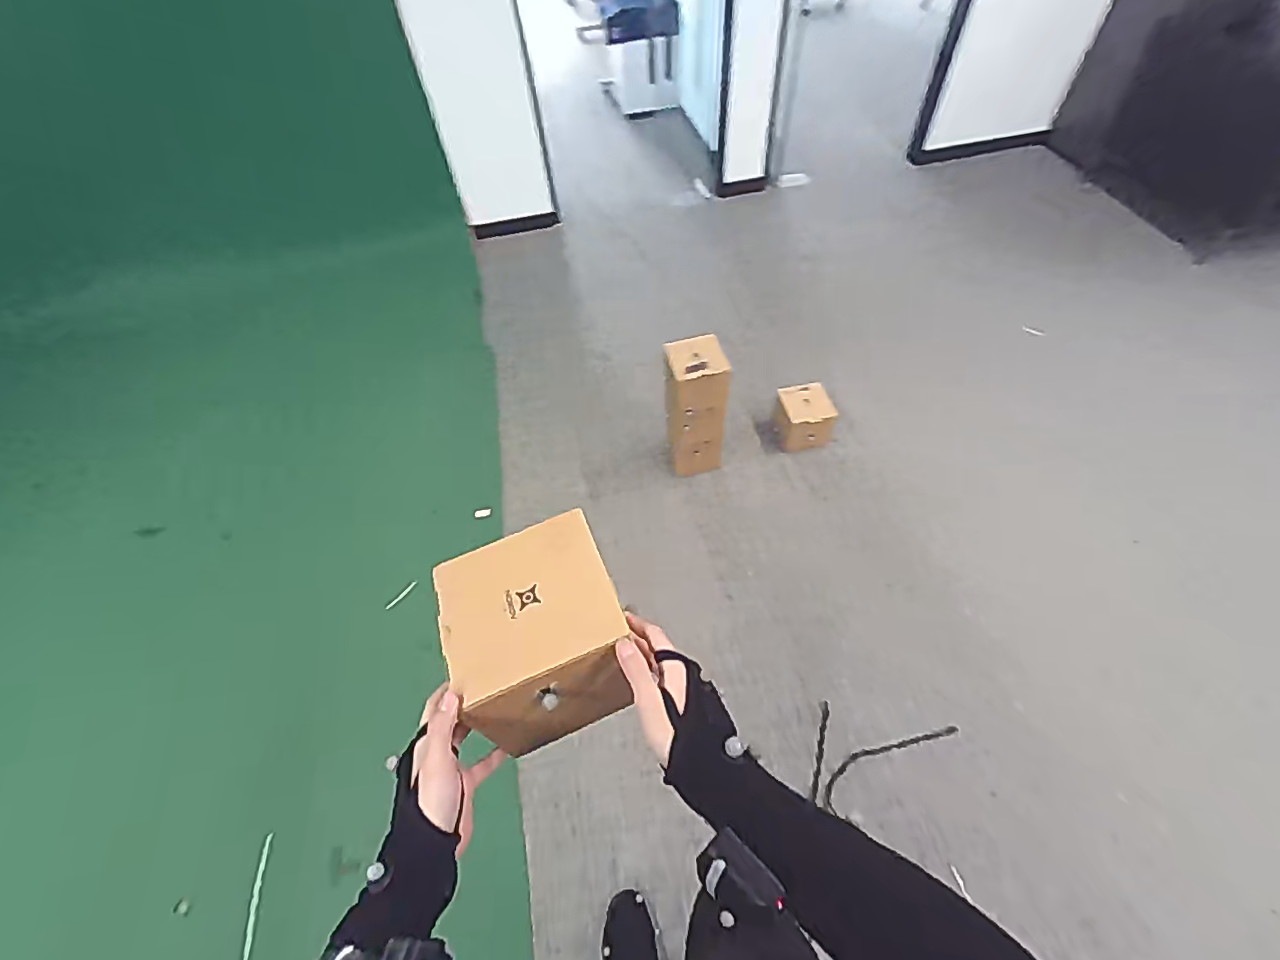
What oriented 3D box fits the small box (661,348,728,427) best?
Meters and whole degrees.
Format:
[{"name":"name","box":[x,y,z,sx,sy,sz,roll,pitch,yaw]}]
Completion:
[{"name":"small box","box":[0.170,-0.283,1.704,0.168,0.176,0.179,-13,52,-5]}]

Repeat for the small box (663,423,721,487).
[{"name":"small box","box":[0.188,-0.094,1.972,0.179,0.176,0.168,-11,53,-5]}]

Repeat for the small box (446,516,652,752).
[{"name":"small box","box":[-0.095,0.176,0.612,0.179,0.176,0.168,-22,48,-6]}]

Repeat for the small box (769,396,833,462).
[{"name":"small box","box":[0.594,-0.182,2.011,0.168,0.176,0.179,-10,53,-4]}]
